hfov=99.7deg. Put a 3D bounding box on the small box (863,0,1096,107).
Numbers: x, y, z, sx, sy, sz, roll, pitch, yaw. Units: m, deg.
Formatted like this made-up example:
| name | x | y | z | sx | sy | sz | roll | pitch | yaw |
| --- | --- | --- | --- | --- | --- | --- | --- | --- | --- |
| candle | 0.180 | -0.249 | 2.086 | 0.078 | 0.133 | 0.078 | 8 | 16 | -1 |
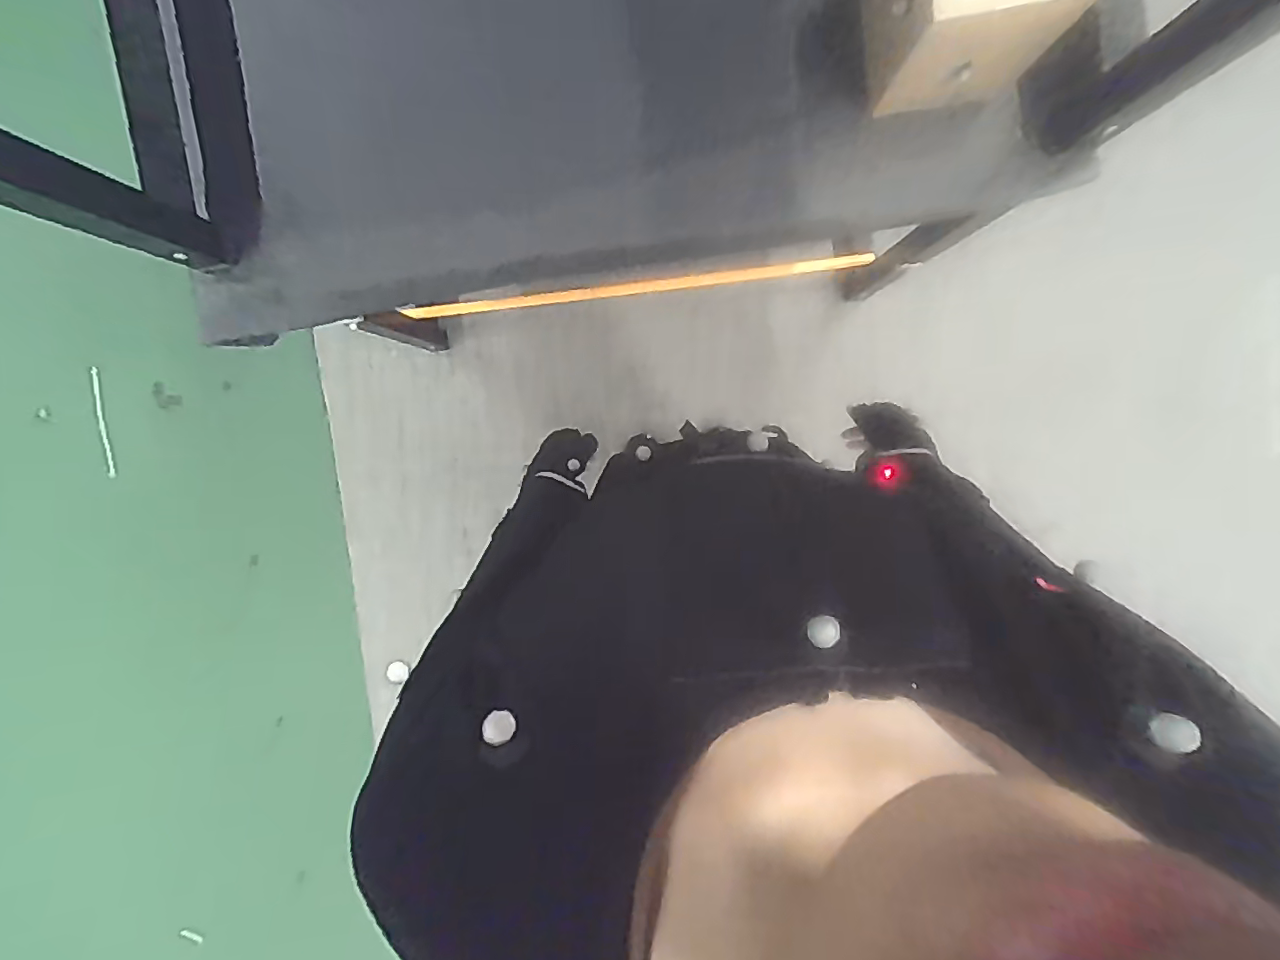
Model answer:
| name | x | y | z | sx | sy | sz | roll | pitch | yaw |
| --- | --- | --- | --- | --- | --- | --- | --- | --- | --- |
| small box | 0.364 | -0.551 | 0.601 | 0.168 | 0.176 | 0.179 | -8 | 94 | 3 |
